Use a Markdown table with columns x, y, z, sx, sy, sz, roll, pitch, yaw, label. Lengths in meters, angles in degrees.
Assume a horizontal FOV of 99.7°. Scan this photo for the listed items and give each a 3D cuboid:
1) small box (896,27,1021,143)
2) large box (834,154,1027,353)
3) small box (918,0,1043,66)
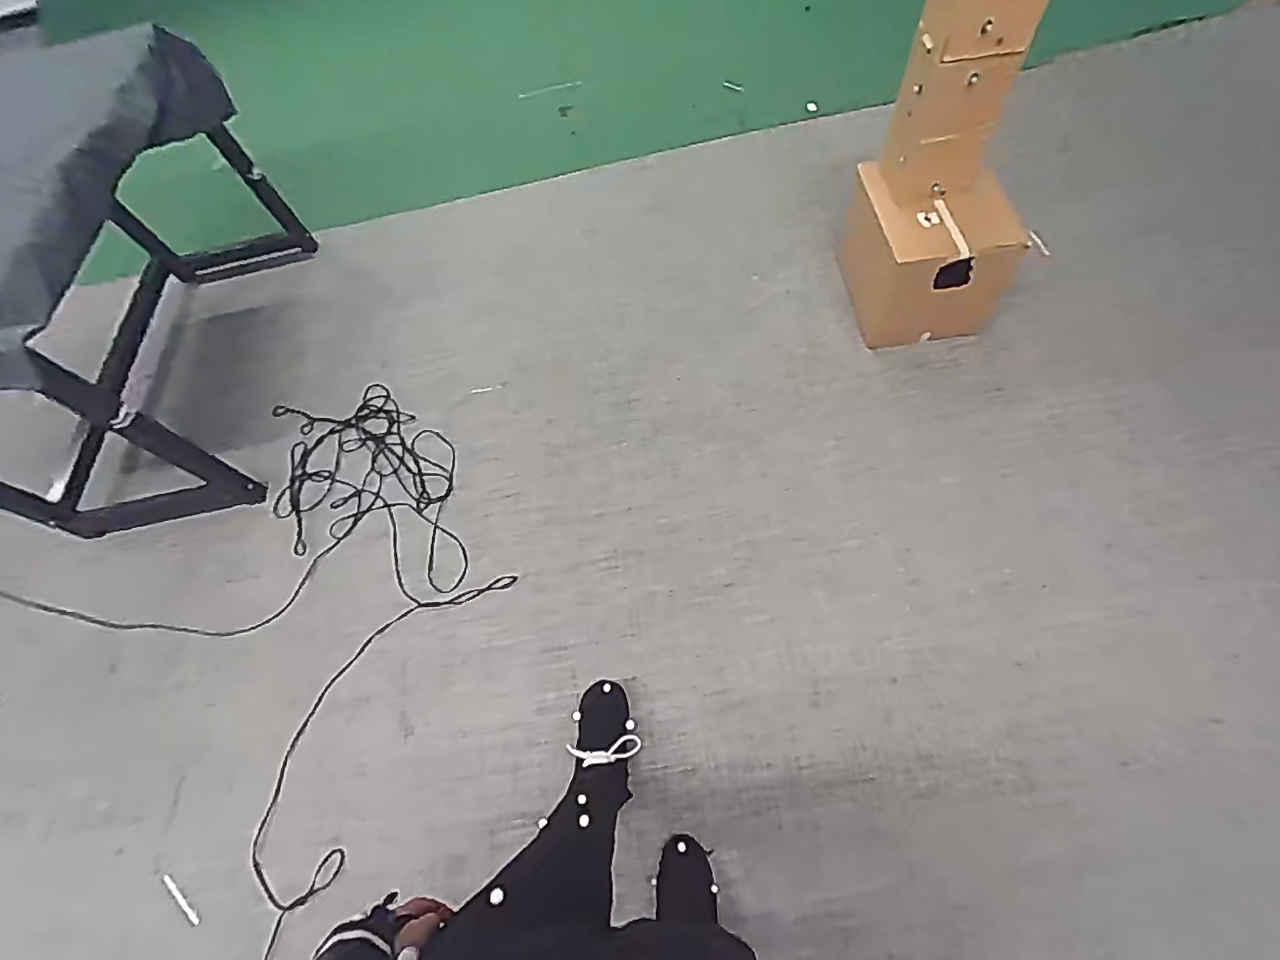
| x | y | z | sx | sy | sz | roll | pitch | yaw | label |
| --- | --- | --- | --- | --- | --- | --- | --- | --- | --- |
| 0.692 | -0.884 | 1.205 | 0.179 | 0.176 | 0.168 | -5 | 64 | 5 | small box |
| 0.775 | -0.628 | 1.522 | 0.320 | 0.320 | 0.408 | -8 | 63 | 5 | large box |
| 0.672 | -0.957 | 1.061 | 0.168 | 0.176 | 0.179 | -4 | 65 | 6 | small box |
